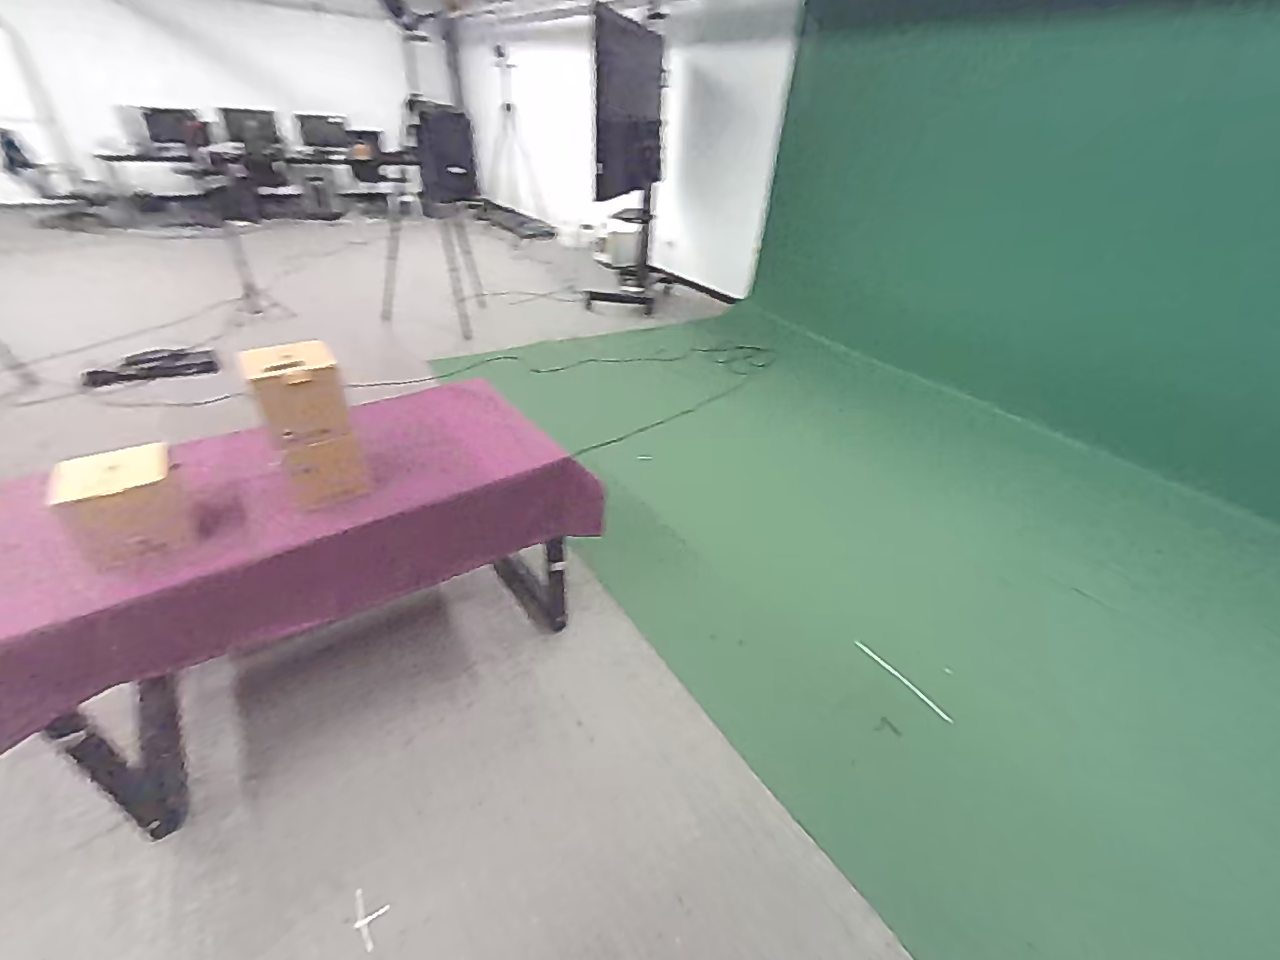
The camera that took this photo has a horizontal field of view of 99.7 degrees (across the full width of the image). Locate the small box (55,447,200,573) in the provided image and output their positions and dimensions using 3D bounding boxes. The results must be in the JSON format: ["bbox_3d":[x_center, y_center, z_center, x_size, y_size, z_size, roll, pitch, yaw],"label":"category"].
[{"bbox_3d":[-1.039,0.058,1.112,0.168,0.176,0.179,-20,40,-31],"label":"small box"}]

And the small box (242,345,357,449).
[{"bbox_3d":[-0.755,-0.183,1.208,0.168,0.176,0.179,-20,39,-32],"label":"small box"}]
